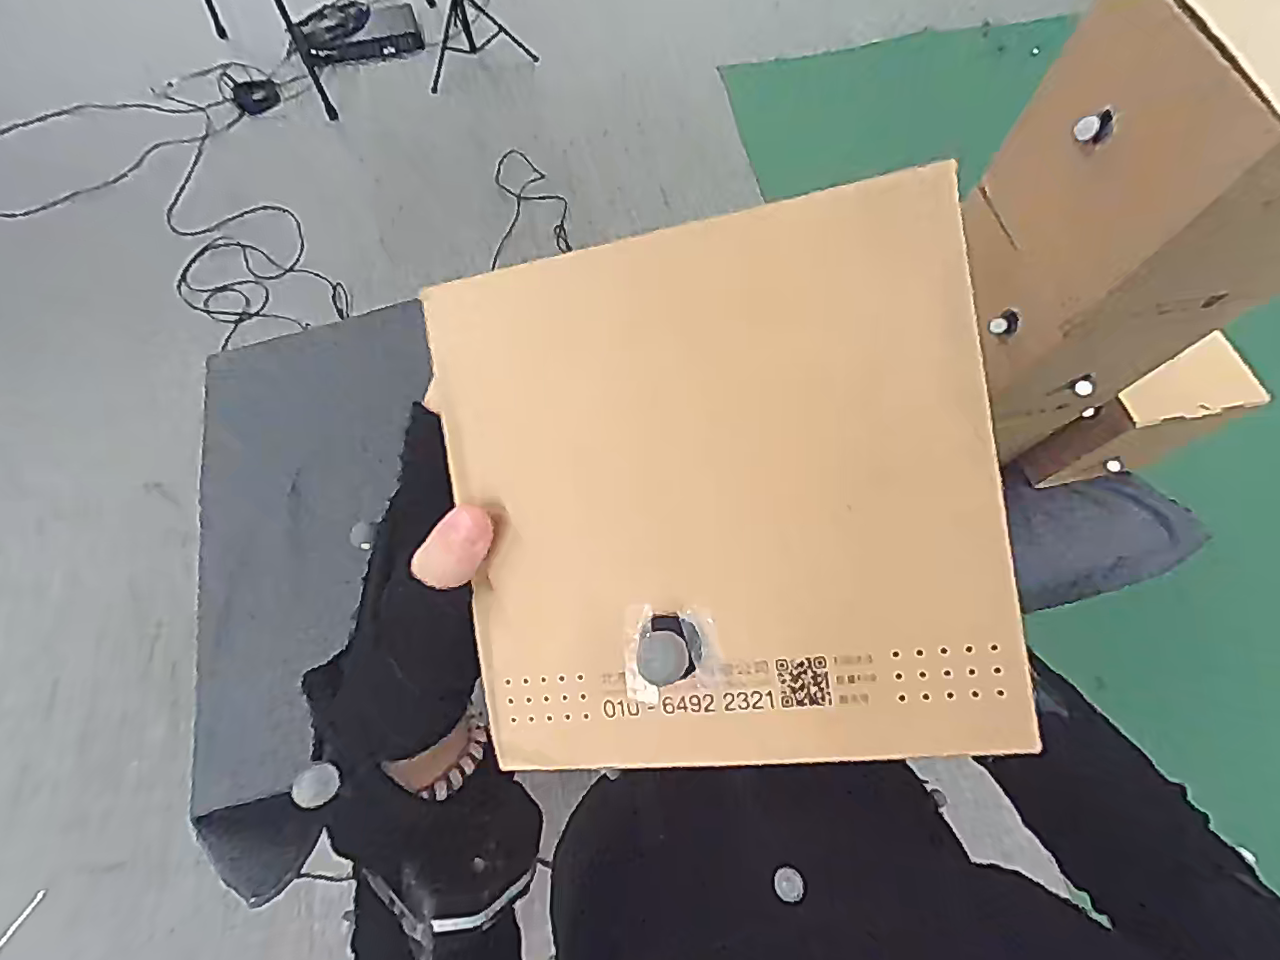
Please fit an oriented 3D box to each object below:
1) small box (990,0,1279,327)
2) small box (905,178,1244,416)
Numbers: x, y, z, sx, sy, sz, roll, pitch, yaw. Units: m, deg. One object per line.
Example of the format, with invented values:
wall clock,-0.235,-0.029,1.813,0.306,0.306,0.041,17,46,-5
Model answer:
small box,0.397,-0.238,0.386,0.168,0.176,0.179,-9,68,-2
small box,0.401,-0.178,0.539,0.168,0.176,0.179,-10,68,-3
